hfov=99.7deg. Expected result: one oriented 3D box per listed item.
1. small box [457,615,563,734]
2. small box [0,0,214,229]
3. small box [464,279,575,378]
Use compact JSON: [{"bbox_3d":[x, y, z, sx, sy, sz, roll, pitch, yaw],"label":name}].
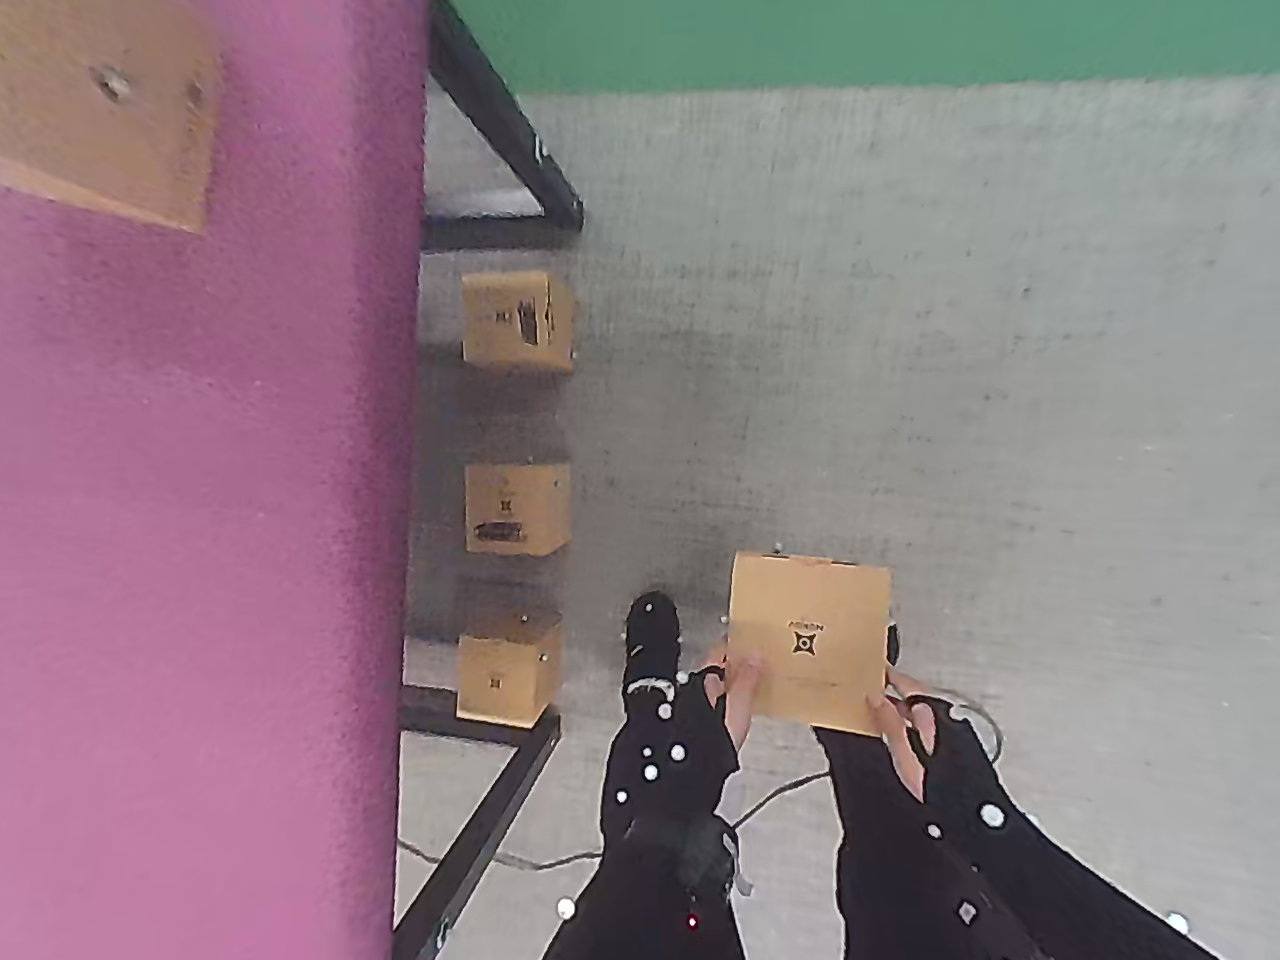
[{"bbox_3d":[-0.270,0.405,1.152,0.168,0.176,0.179,4,94,10],"label":"small box"},{"bbox_3d":[-0.465,-0.305,0.397,0.179,0.176,0.168,15,97,9],"label":"small box"},{"bbox_3d":[-0.236,-0.300,1.095,0.179,0.176,0.168,2,94,11],"label":"small box"}]
